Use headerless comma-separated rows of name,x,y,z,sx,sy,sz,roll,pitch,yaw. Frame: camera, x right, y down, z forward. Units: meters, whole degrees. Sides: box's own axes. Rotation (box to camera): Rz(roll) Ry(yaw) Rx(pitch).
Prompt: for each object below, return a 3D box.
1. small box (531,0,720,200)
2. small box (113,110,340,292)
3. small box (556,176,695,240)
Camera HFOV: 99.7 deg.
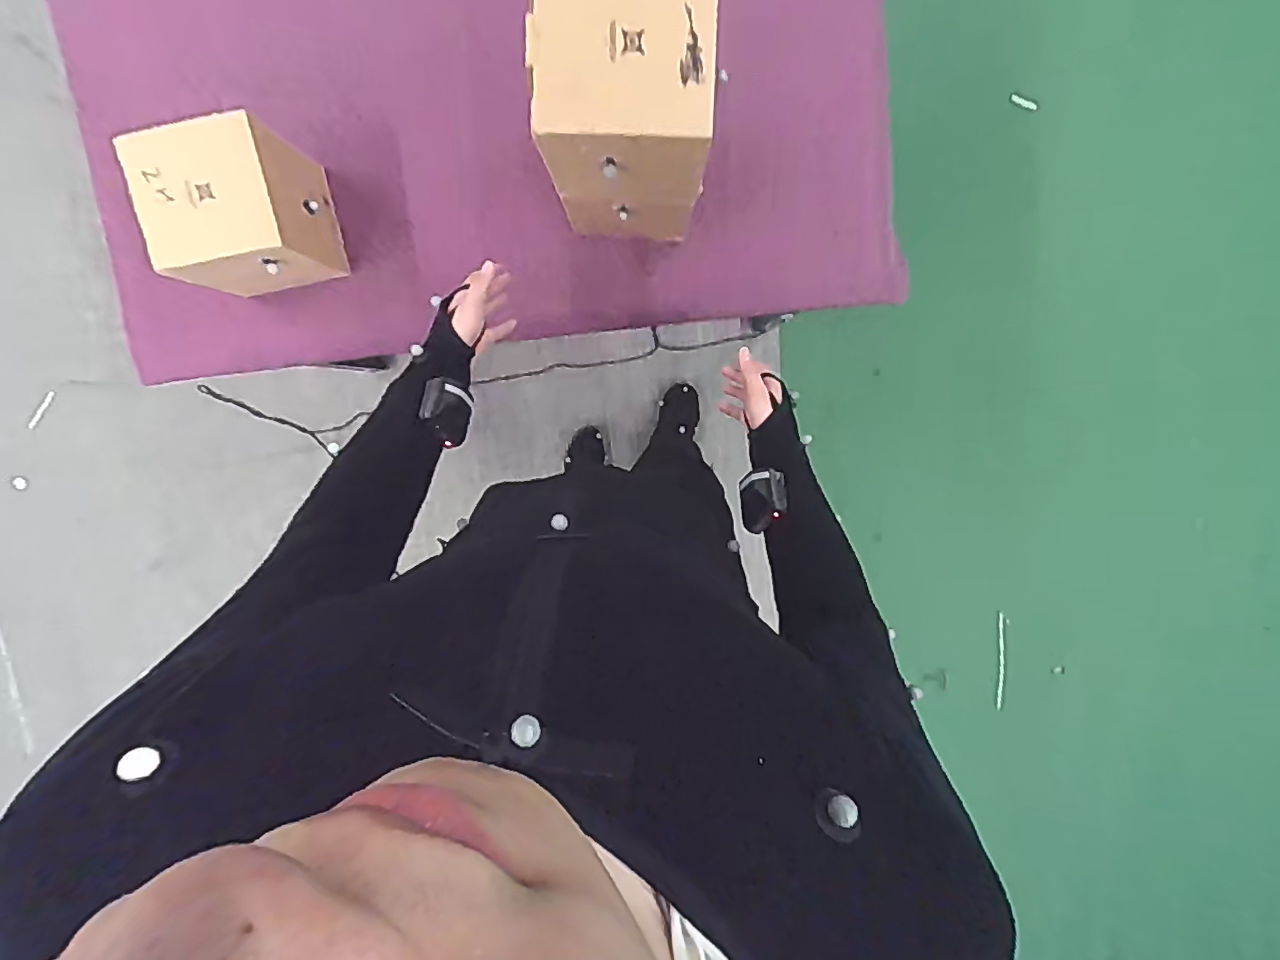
small box,-0.011,-0.416,0.580,0.179,0.176,0.168,2,99,1
small box,-0.551,-0.374,0.754,0.179,0.176,0.168,-10,98,2
small box,-0.010,-0.442,0.741,0.179,0.176,0.168,5,99,0
